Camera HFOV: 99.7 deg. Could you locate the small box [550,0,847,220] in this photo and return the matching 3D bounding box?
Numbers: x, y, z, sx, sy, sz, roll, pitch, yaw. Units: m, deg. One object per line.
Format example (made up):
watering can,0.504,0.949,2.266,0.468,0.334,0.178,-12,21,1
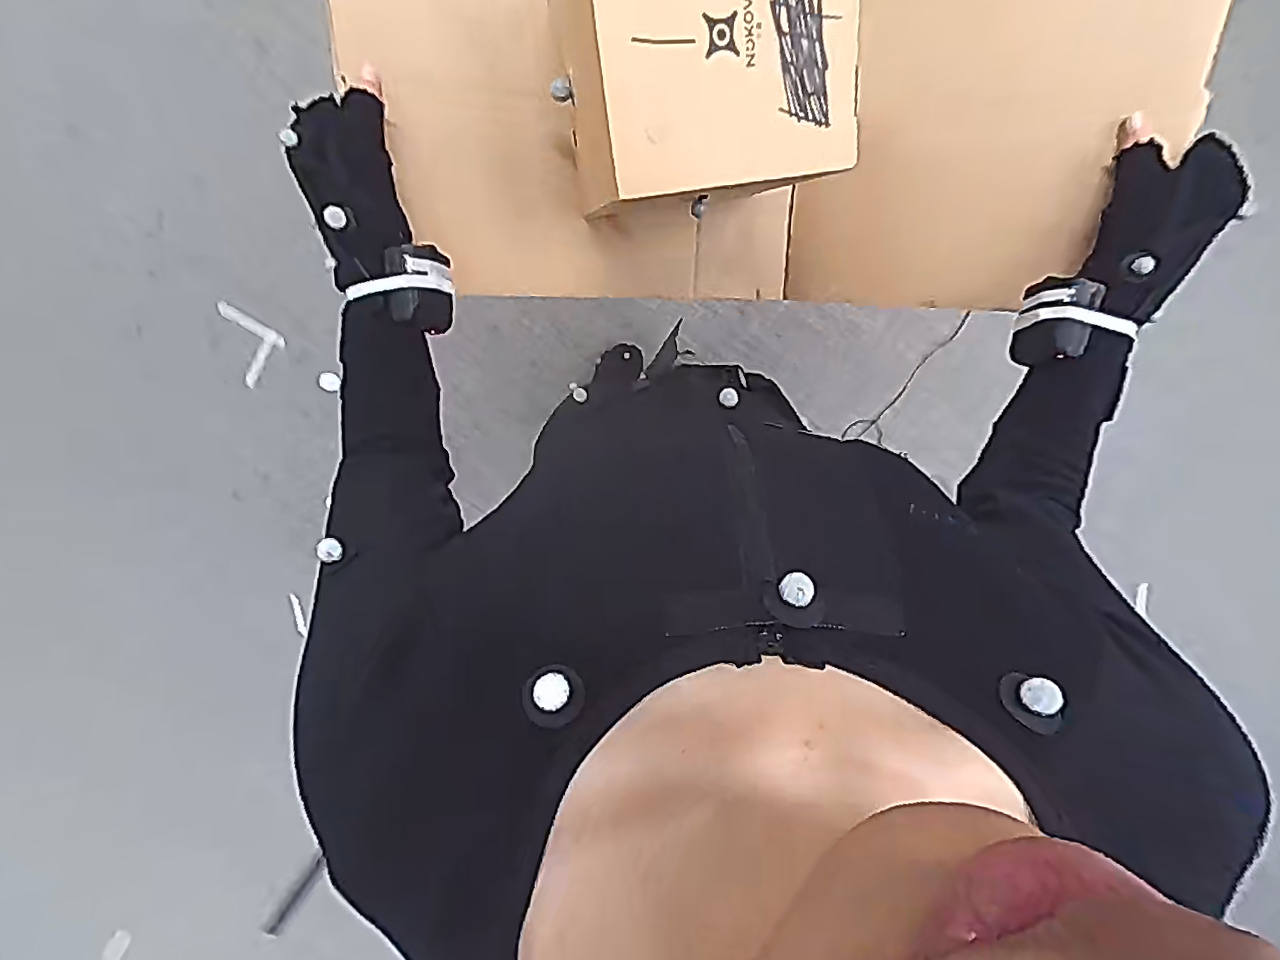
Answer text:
small box,0.037,-0.306,0.420,0.179,0.176,0.168,-13,114,-9
